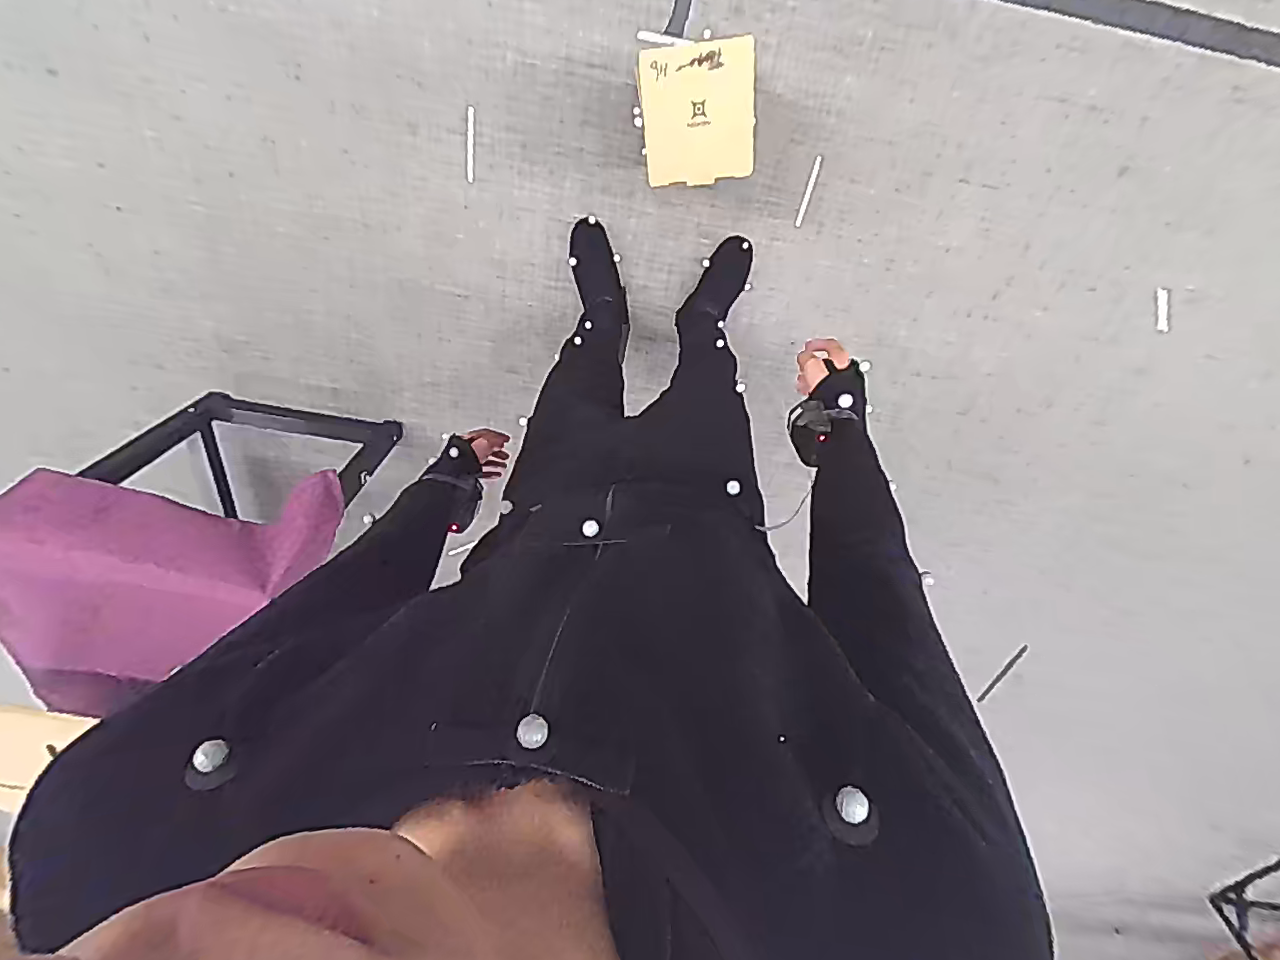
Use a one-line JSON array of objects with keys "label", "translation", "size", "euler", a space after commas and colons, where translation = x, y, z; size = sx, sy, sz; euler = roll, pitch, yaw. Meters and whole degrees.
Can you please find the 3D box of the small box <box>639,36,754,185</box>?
[{"label": "small box", "translation": [0.089, -0.595, 0.876], "size": [0.168, 0.176, 0.179], "euler": [-4, 125, 4]}]
